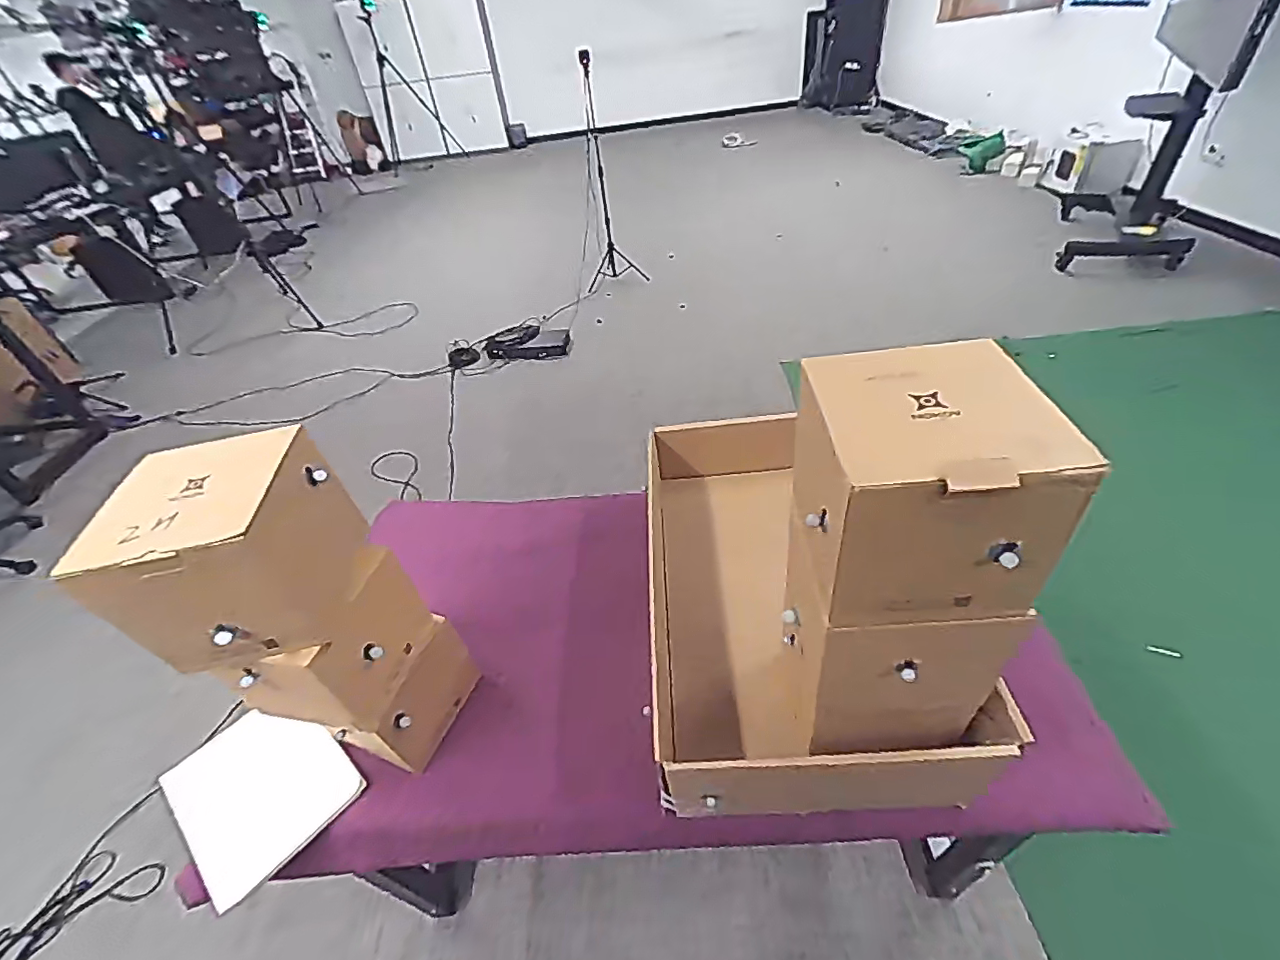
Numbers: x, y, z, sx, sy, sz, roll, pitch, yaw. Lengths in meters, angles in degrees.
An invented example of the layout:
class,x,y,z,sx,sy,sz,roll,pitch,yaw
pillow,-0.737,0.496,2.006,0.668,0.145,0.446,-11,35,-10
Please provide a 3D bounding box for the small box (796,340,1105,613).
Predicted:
class,x,y,z,sx,sy,sz,roll,pitch,yaw
small box,0.236,0.002,0.470,0.168,0.176,0.179,-5,41,6

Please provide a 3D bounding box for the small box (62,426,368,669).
class,x,y,z,sx,sy,sz,roll,pitch,yaw
small box,-0.419,0.070,0.579,0.168,0.176,0.179,-12,42,-3

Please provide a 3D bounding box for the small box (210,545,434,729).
class,x,y,z,sx,sy,sz,roll,pitch,yaw
small box,-0.394,0.193,0.686,0.179,0.176,0.168,3,43,14

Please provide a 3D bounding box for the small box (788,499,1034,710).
class,x,y,z,sx,sy,sz,roll,pitch,yaw
small box,0.260,0.127,0.573,0.179,0.176,0.168,-6,41,7
